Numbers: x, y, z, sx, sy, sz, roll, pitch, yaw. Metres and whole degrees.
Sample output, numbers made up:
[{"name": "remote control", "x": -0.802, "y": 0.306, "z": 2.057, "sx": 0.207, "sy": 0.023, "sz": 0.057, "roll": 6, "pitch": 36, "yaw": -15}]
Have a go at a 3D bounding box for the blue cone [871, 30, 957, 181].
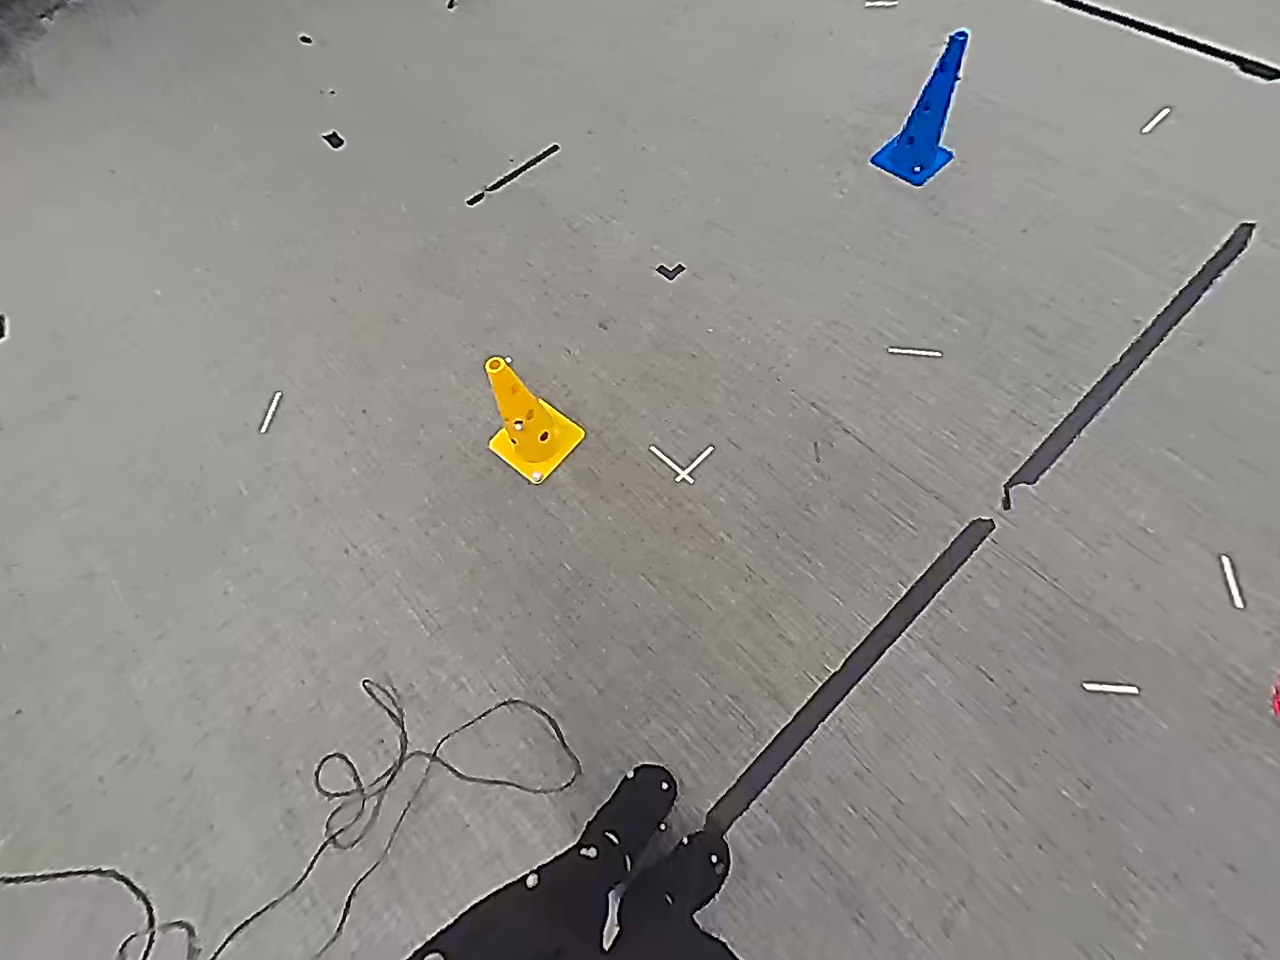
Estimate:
[{"name": "blue cone", "x": 0.871, "y": -1.136, "z": 1.639, "sx": 0.193, "sy": 0.380, "sz": 0.192, "roll": -41, "pitch": 68, "yaw": -12}]
